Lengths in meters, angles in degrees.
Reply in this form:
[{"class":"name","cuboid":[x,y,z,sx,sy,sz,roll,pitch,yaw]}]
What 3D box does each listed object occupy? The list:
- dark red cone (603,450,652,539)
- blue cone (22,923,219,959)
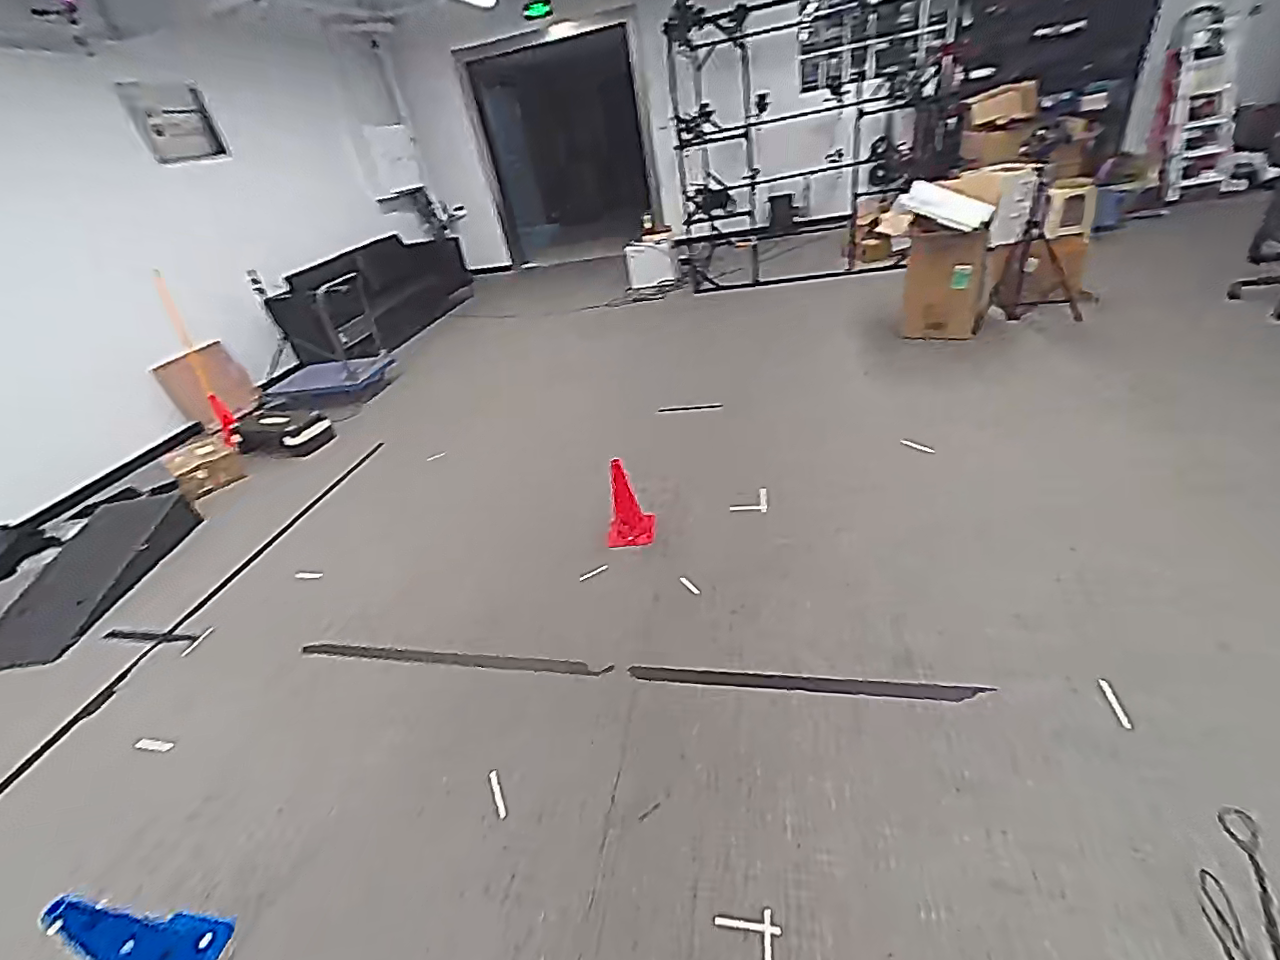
[{"class":"dark red cone","cuboid":[-0.079,0.050,2.196,0.202,0.394,0.201,-6,34,8]},{"class":"blue cone","cuboid":[-1.106,0.999,1.126,0.193,0.380,0.192,-2,35,15]}]
